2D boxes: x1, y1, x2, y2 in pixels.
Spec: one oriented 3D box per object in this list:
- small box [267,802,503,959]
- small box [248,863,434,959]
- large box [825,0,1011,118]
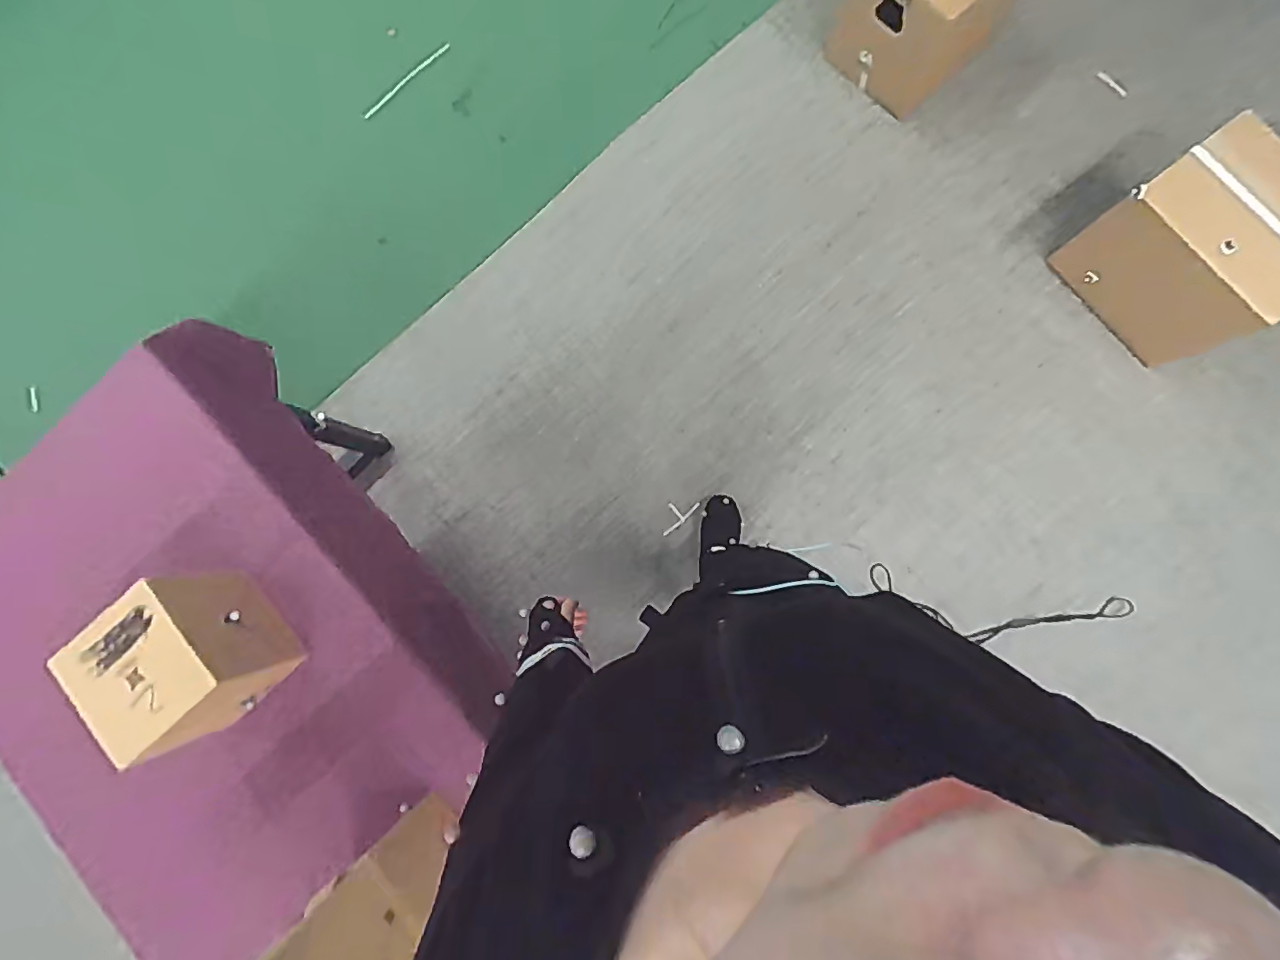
[{"bbox_3d":[-0.310,0.553,0.692,0.168,0.176,0.179,-43,83,0],"label":"small box"},{"bbox_3d":[-0.329,0.537,0.531,0.179,0.176,0.168,-42,82,1],"label":"small box"},{"bbox_3d":[0.783,-1.312,1.461,0.408,0.320,0.320,-43,82,-2],"label":"large box"}]
